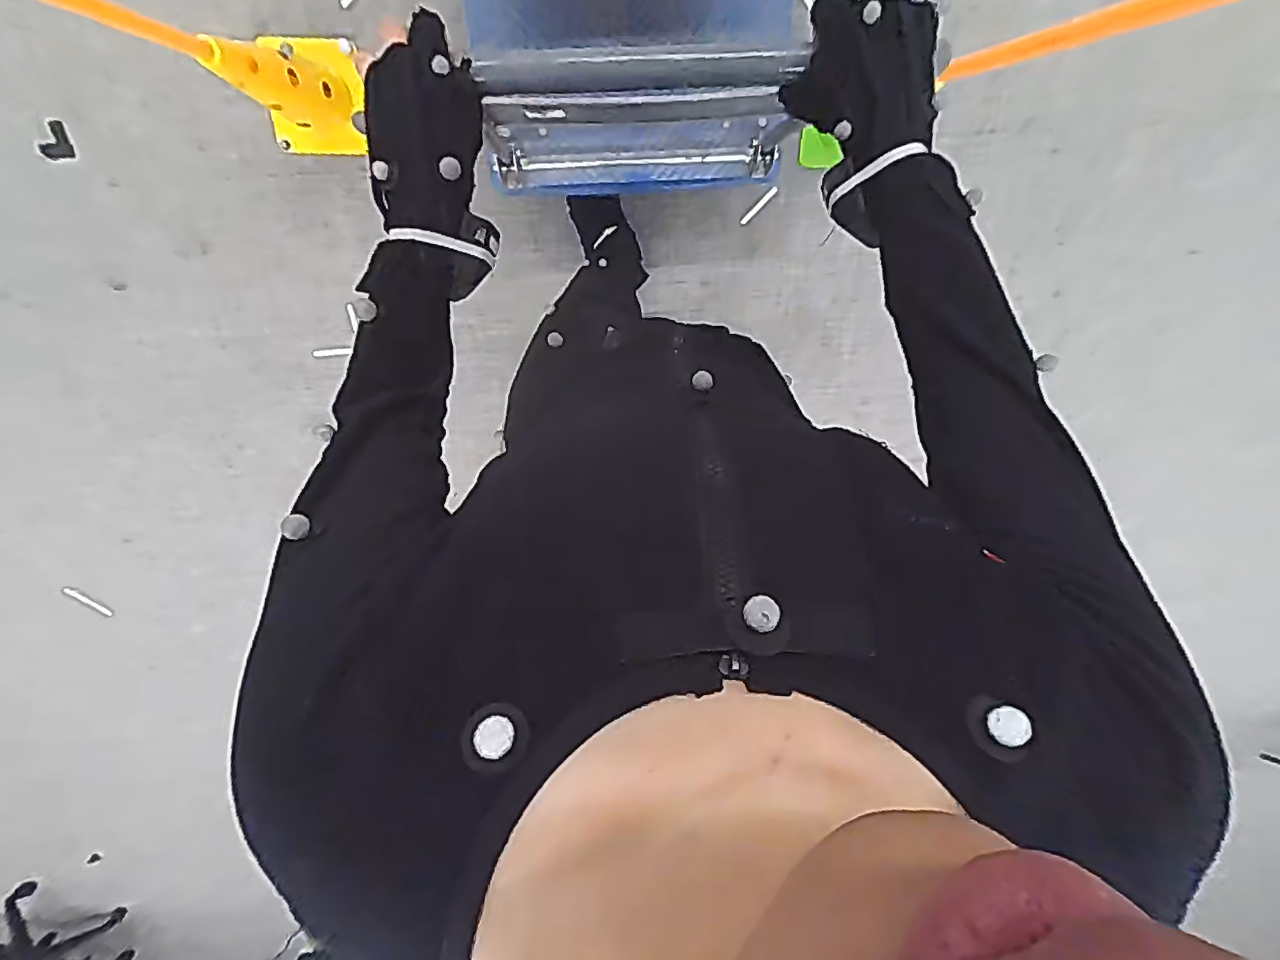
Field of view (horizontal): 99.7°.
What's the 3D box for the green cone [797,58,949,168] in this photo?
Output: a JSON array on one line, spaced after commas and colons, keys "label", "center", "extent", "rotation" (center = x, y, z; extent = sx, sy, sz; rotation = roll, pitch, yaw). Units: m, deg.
[{"label": "green cone", "center": [0.466, -0.731, 1.039], "extent": [0.202, 0.368, 0.200], "rotation": [-1, 116, -4]}]
